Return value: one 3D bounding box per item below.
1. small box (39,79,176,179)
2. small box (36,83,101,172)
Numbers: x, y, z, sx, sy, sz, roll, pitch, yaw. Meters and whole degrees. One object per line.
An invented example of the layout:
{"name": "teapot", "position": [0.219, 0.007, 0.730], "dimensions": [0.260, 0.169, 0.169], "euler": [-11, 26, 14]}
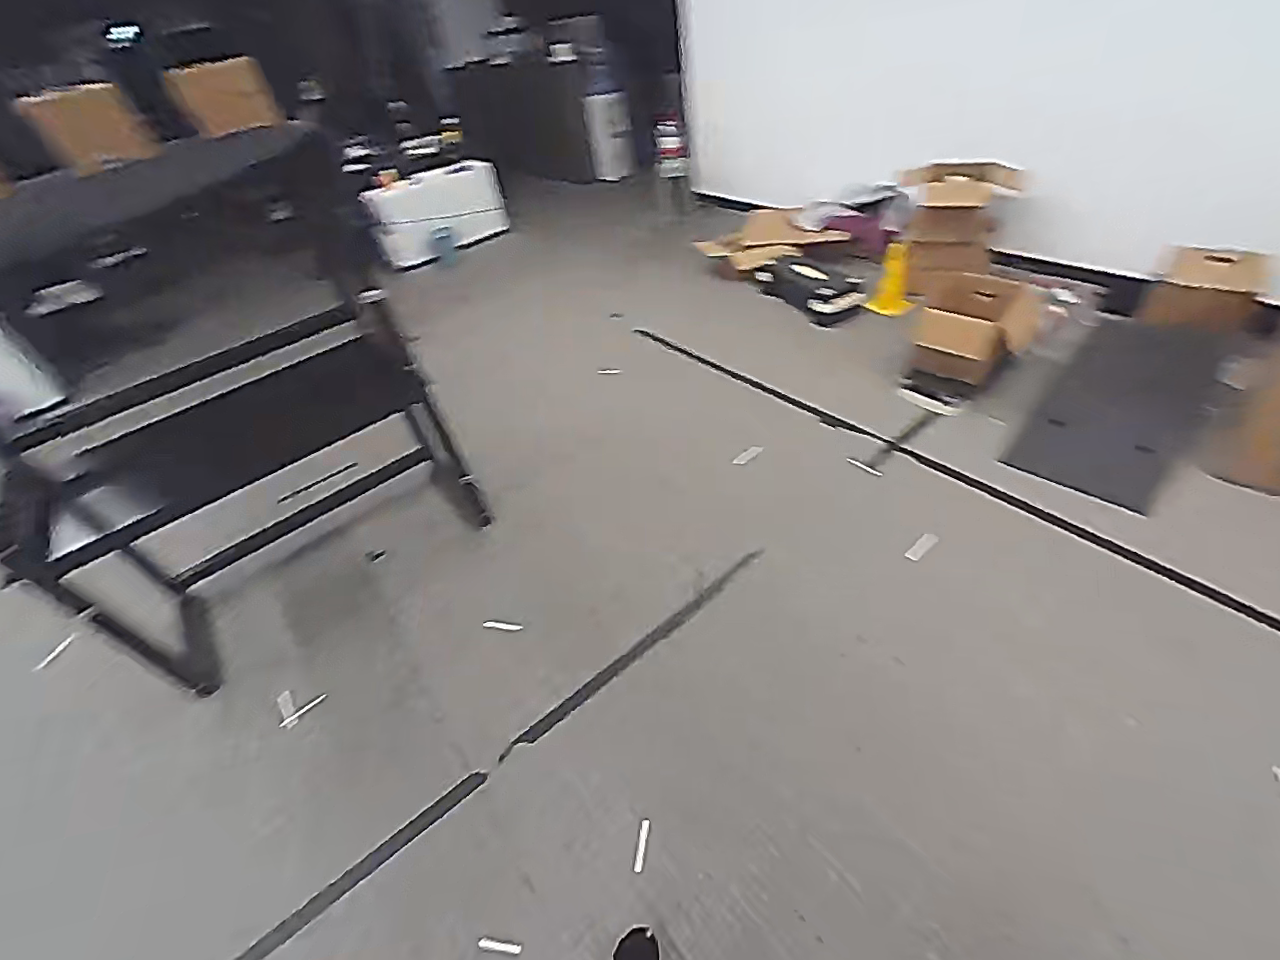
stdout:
{"name": "small box", "position": [-1.259, -0.839, 1.294], "dimensions": [0.168, 0.176, 0.179], "euler": [-33, 46, -21]}
{"name": "small box", "position": [-1.425, -0.941, 1.436], "dimensions": [0.179, 0.176, 0.168], "euler": [-33, 46, -23]}
